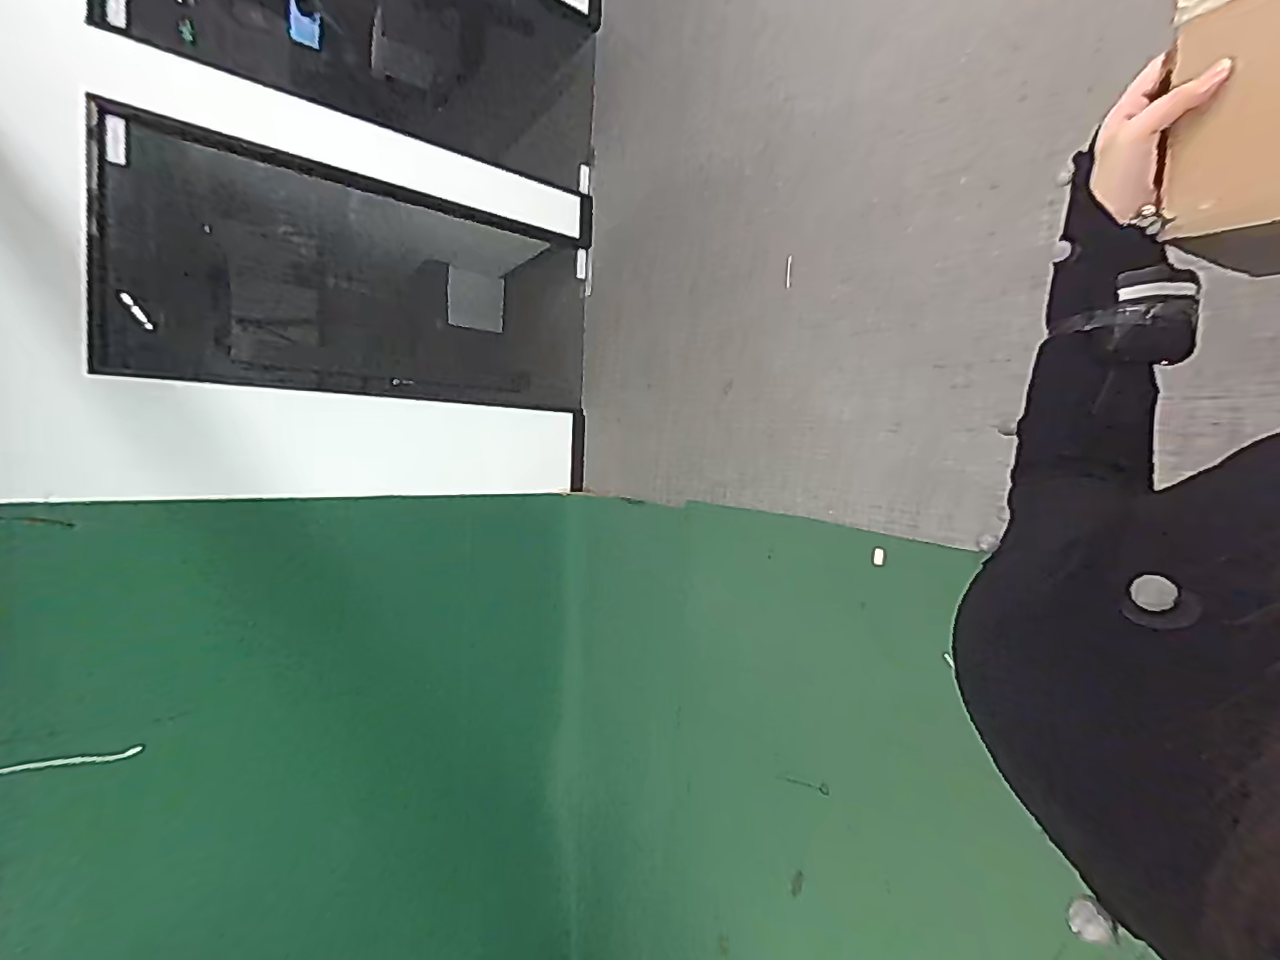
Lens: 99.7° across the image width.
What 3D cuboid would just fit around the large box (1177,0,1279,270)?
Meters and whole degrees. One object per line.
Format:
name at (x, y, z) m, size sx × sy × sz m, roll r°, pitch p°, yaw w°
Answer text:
large box at (0.633, -0.330, 0.302) m, size 0.408 × 0.320 × 0.320 m, roll 10°, pitch 105°, yaw 57°
